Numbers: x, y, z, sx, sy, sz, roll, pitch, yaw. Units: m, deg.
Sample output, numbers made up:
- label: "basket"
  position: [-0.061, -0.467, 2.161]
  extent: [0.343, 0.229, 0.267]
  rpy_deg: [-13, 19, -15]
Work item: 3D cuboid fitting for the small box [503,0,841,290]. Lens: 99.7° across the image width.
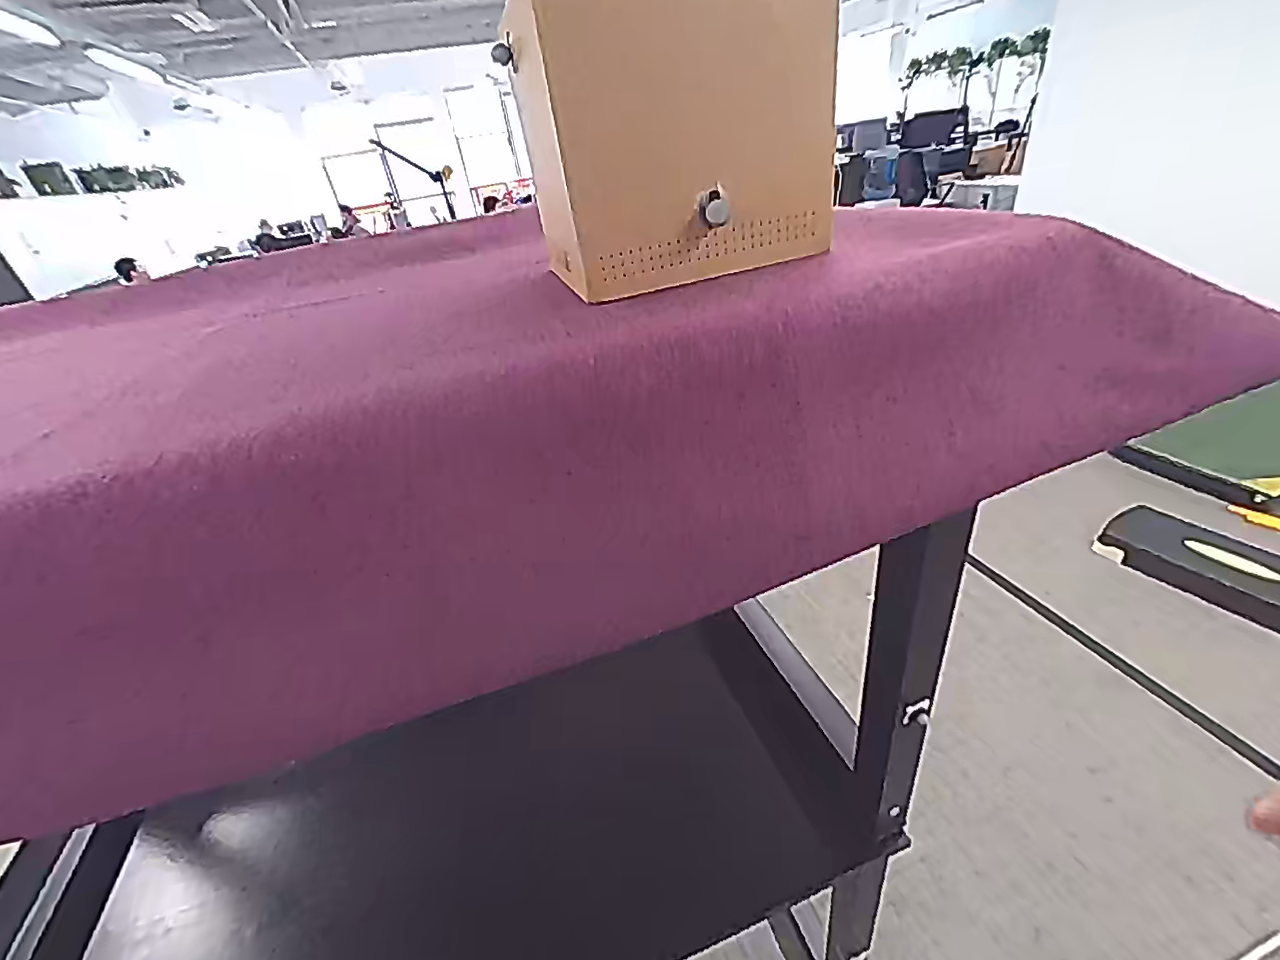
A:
- label: "small box"
  position: [0.016, -0.246, 0.378]
  extent: [0.179, 0.176, 0.168]
  rpy_deg: [-16, 31, -10]
